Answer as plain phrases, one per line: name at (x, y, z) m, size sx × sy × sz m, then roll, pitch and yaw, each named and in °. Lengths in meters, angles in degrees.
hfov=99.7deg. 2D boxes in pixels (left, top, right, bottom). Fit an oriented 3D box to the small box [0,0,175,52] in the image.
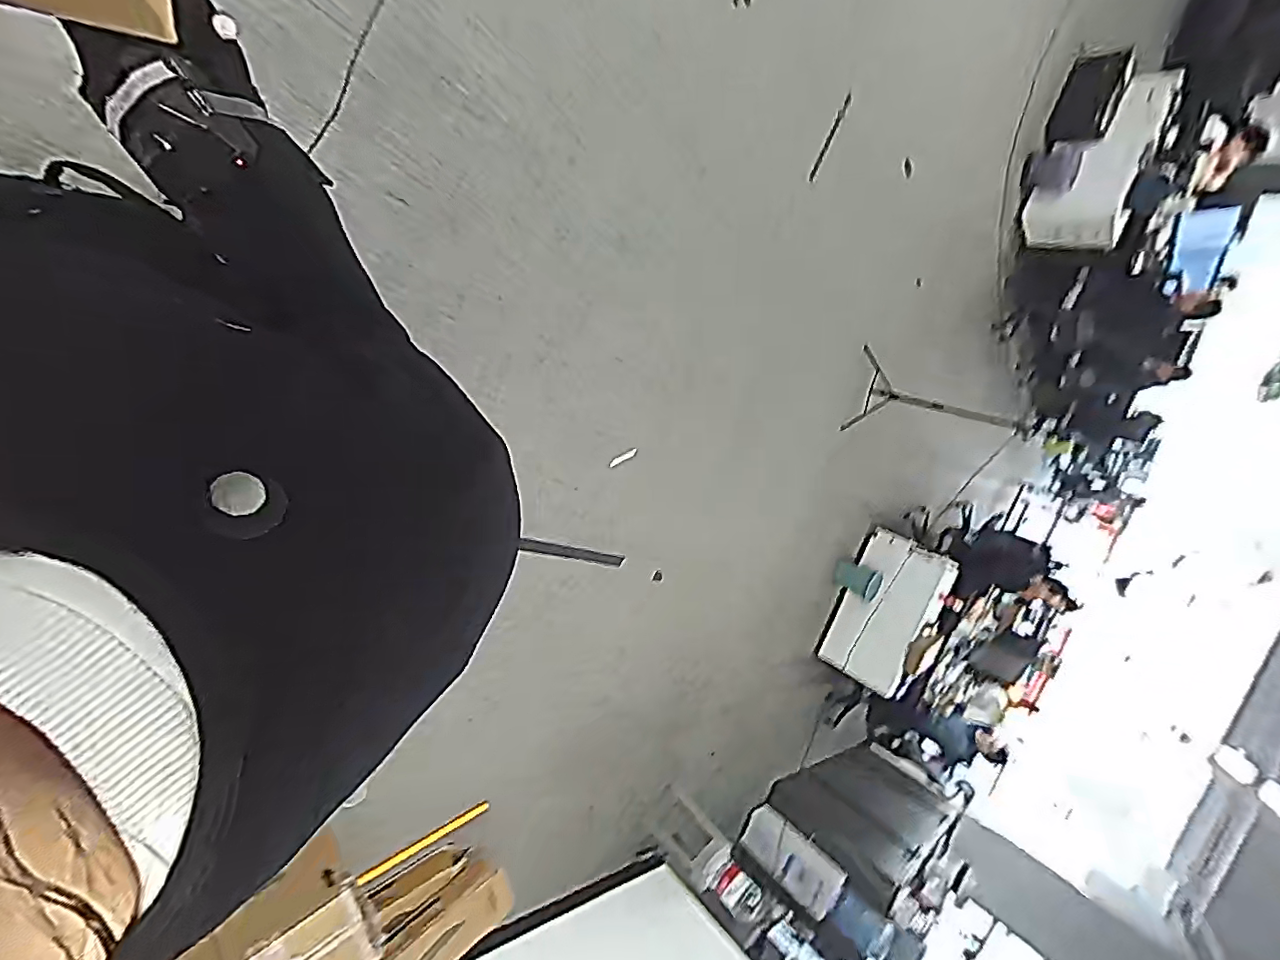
small box at (-0.276, -0.275, 0.167) m, size 0.176 × 0.168 × 0.179 m, roll -8°, pitch 119°, yaw -33°
